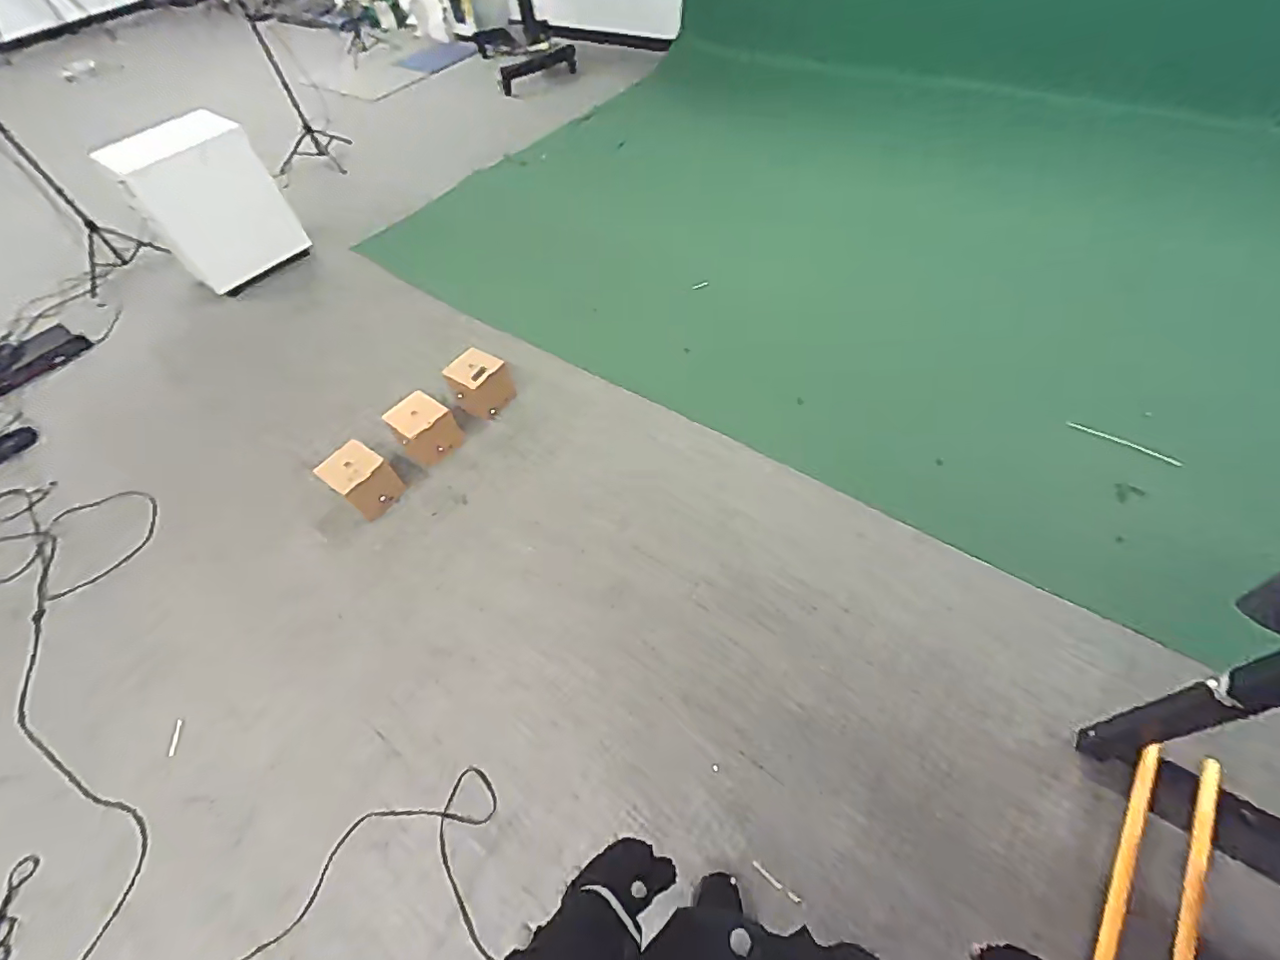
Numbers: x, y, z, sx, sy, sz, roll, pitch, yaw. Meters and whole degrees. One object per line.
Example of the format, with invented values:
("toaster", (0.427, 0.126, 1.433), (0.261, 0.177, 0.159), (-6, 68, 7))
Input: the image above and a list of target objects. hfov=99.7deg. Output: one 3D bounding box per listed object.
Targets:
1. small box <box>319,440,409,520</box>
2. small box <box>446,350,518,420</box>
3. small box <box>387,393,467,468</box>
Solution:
("small box", (-0.909, 0.006, 1.793), (0.179, 0.176, 0.168), (29, 63, 24))
("small box", (-0.585, -0.352, 2.029), (0.179, 0.176, 0.168), (28, 61, 24))
("small box", (-0.747, -0.172, 1.913), (0.179, 0.176, 0.168), (31, 62, 25))
